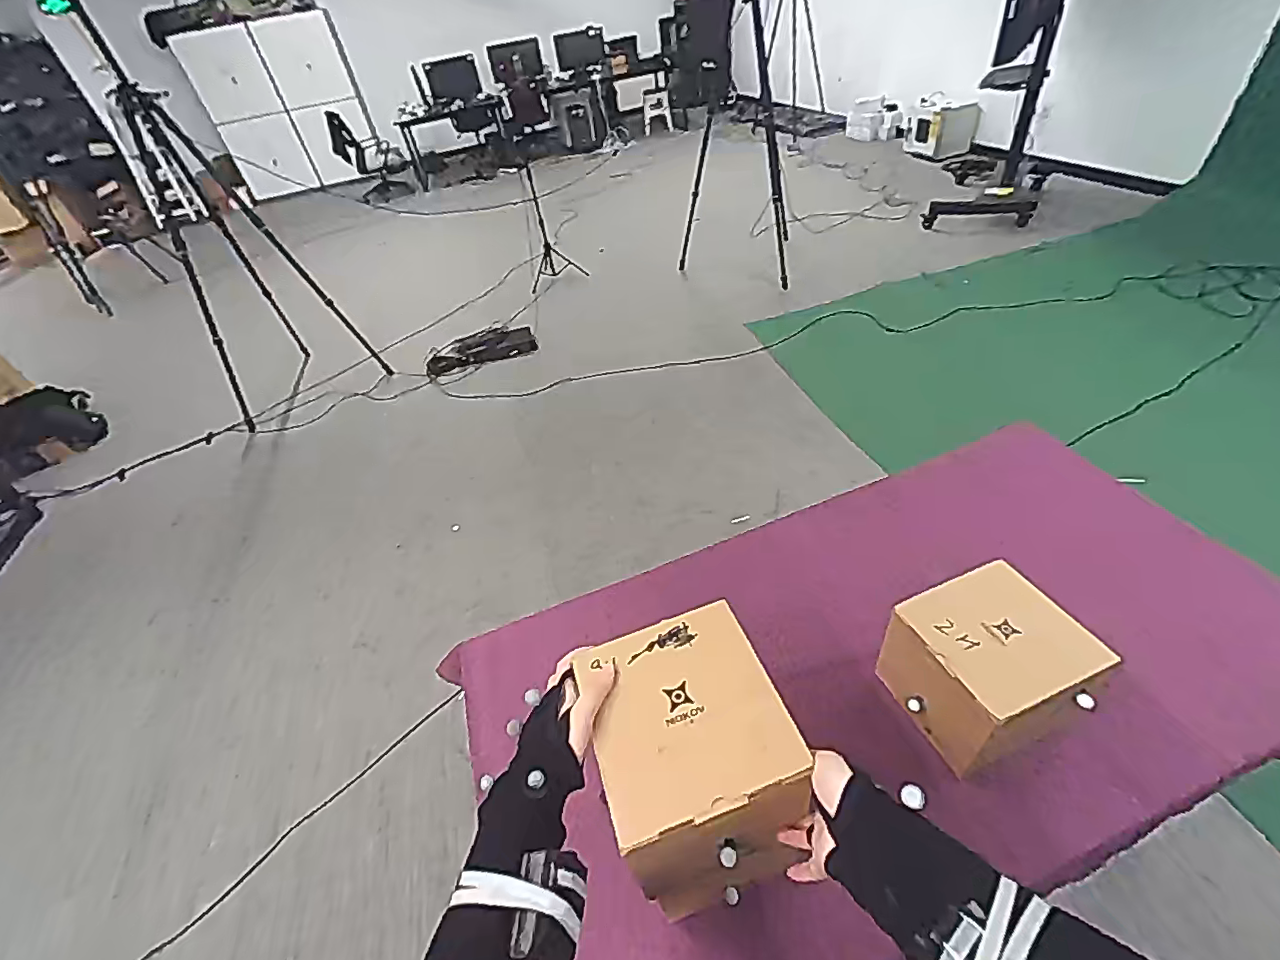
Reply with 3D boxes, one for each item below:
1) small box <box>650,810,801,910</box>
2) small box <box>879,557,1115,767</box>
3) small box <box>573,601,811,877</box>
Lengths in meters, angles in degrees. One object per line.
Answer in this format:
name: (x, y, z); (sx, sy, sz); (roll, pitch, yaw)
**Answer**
small box: (0.072, 0.371, 0.649); (0.168, 0.176, 0.179); (-19, 44, -8)
small box: (0.444, 0.237, 0.708); (0.179, 0.176, 0.168); (-20, 42, -9)
small box: (0.048, 0.258, 0.532); (0.168, 0.176, 0.179); (-19, 44, -8)
